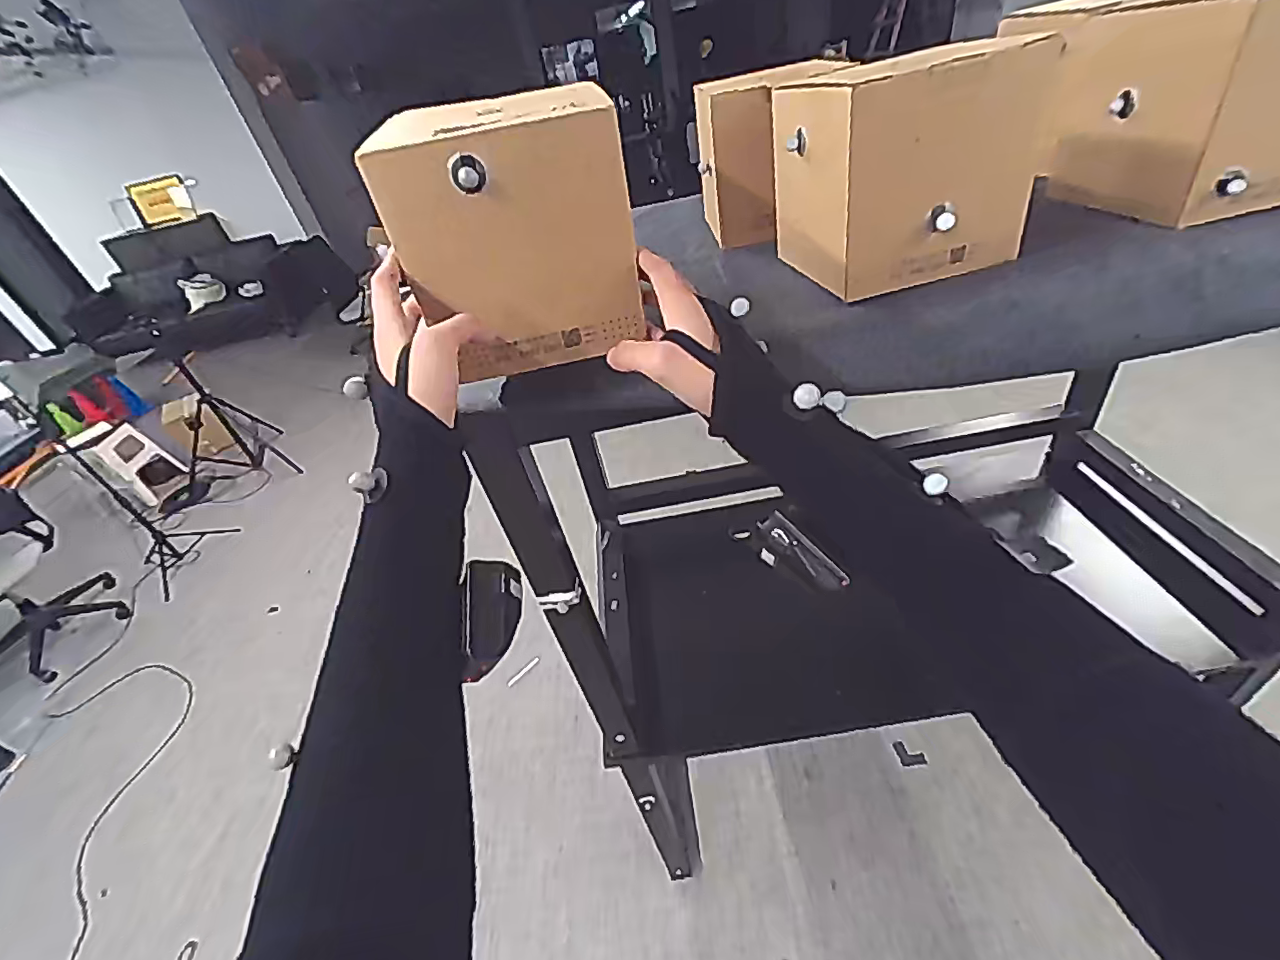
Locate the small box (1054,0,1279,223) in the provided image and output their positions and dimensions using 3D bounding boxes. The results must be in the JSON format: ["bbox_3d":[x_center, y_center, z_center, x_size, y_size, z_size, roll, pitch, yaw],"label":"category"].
[{"bbox_3d":[0.537,-0.352,0.498,0.168,0.176,0.179,-12,36,2],"label":"small box"}]

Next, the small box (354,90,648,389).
[{"bbox_3d":[-0.095,-0.197,0.441,0.168,0.176,0.179,-13,41,-2],"label":"small box"}]

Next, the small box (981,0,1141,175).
[{"bbox_3d":[0.564,-0.497,0.674,0.168,0.176,0.179,-11,39,3],"label":"small box"}]
